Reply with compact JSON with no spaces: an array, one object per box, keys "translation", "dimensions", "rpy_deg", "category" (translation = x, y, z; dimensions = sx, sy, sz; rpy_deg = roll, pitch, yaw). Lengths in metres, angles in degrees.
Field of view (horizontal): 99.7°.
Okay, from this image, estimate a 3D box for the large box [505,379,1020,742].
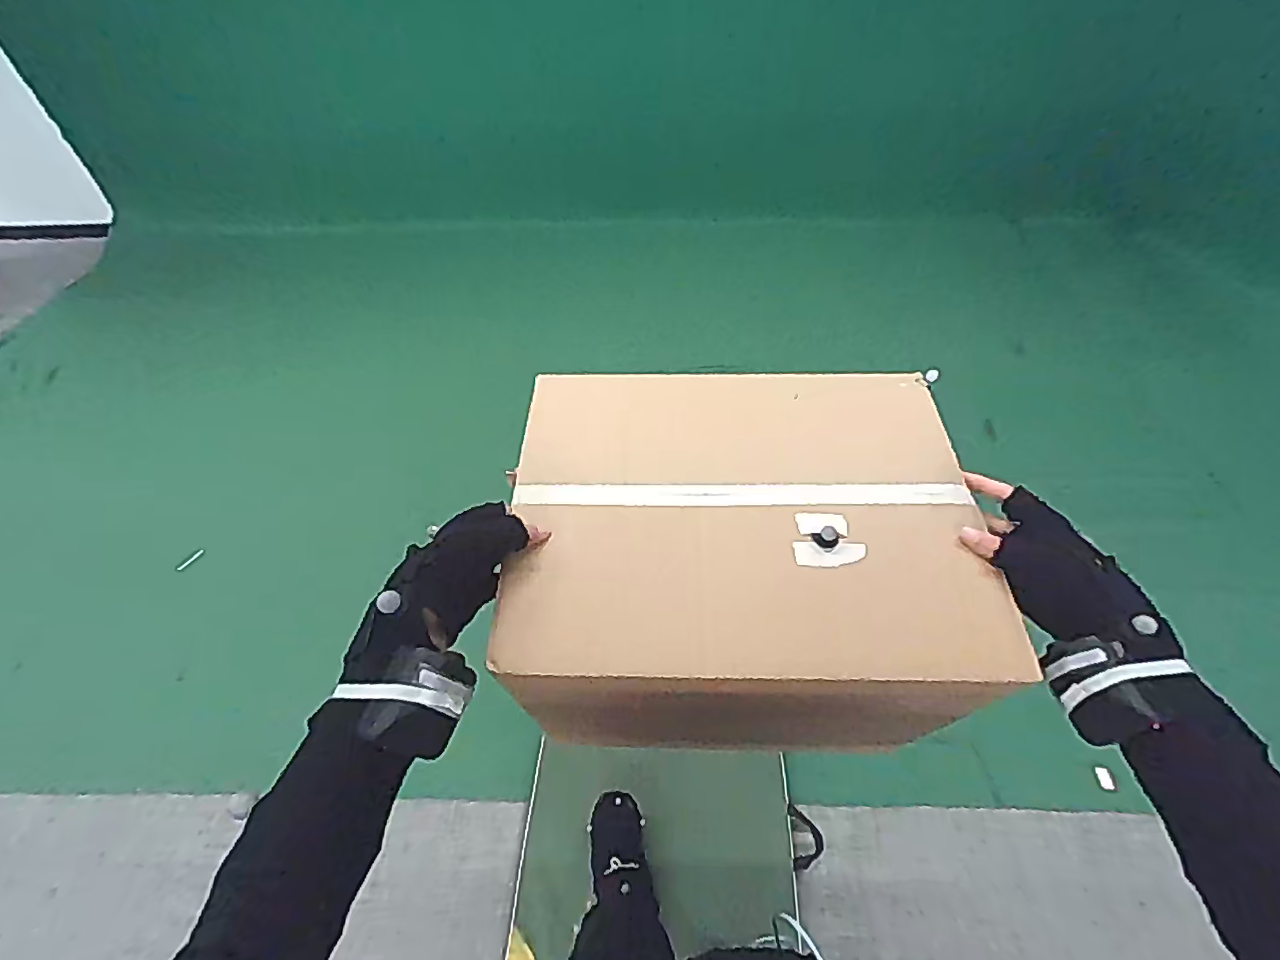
[{"translation":[0.093,0.102,0.617],"dimensions":[0.408,0.320,0.320],"rpy_deg":[1,55,1],"category":"large box"}]
